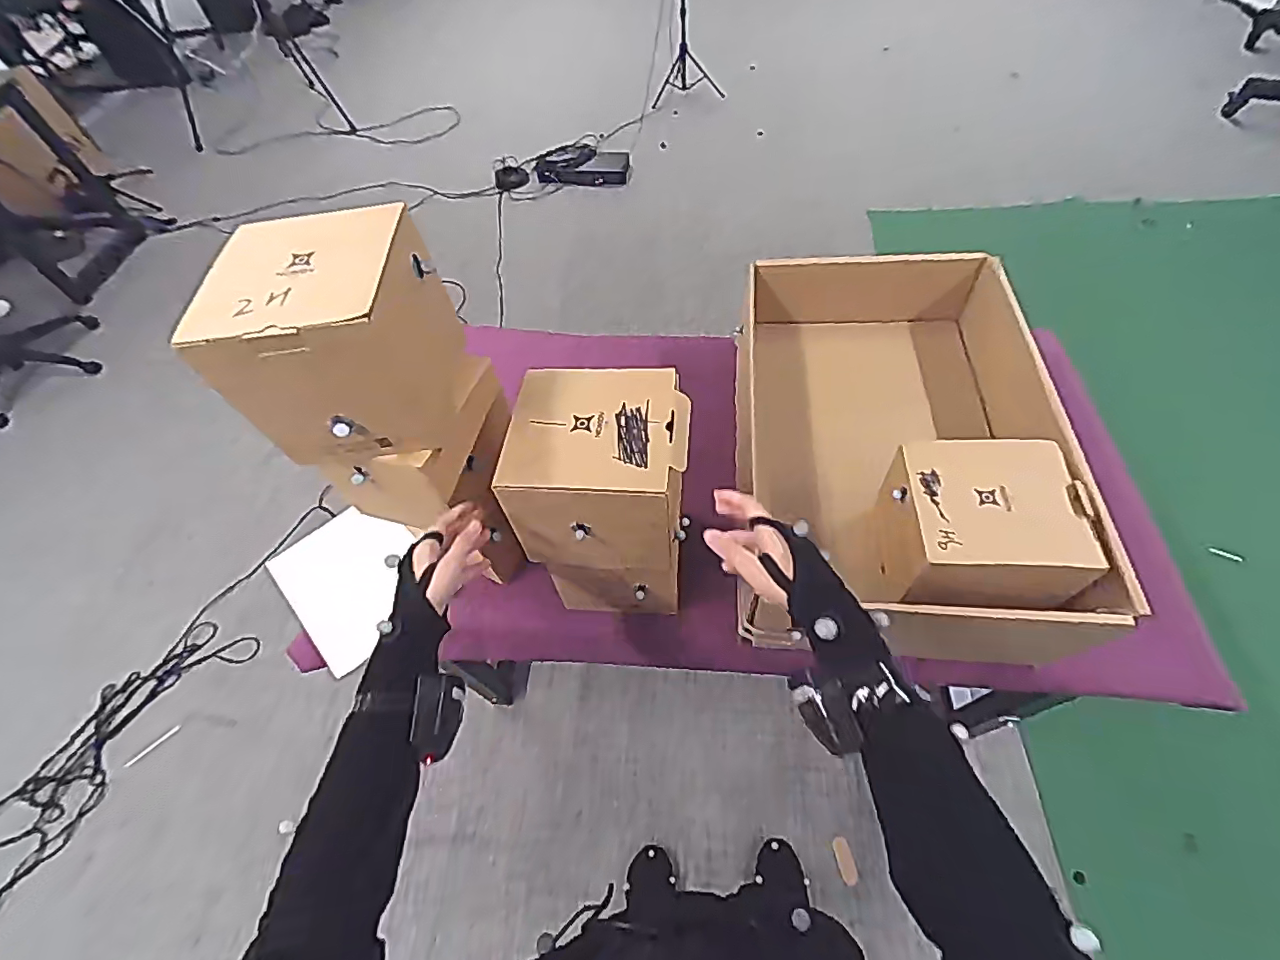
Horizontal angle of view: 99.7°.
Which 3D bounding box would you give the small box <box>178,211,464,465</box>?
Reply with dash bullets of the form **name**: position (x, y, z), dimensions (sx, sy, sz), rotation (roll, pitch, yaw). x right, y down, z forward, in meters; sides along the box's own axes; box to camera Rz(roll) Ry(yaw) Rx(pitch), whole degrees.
- **small box**: position (-0.291, -0.138, 0.545), dimensions (0.168, 0.176, 0.179), rotation (-7, 55, 2)
